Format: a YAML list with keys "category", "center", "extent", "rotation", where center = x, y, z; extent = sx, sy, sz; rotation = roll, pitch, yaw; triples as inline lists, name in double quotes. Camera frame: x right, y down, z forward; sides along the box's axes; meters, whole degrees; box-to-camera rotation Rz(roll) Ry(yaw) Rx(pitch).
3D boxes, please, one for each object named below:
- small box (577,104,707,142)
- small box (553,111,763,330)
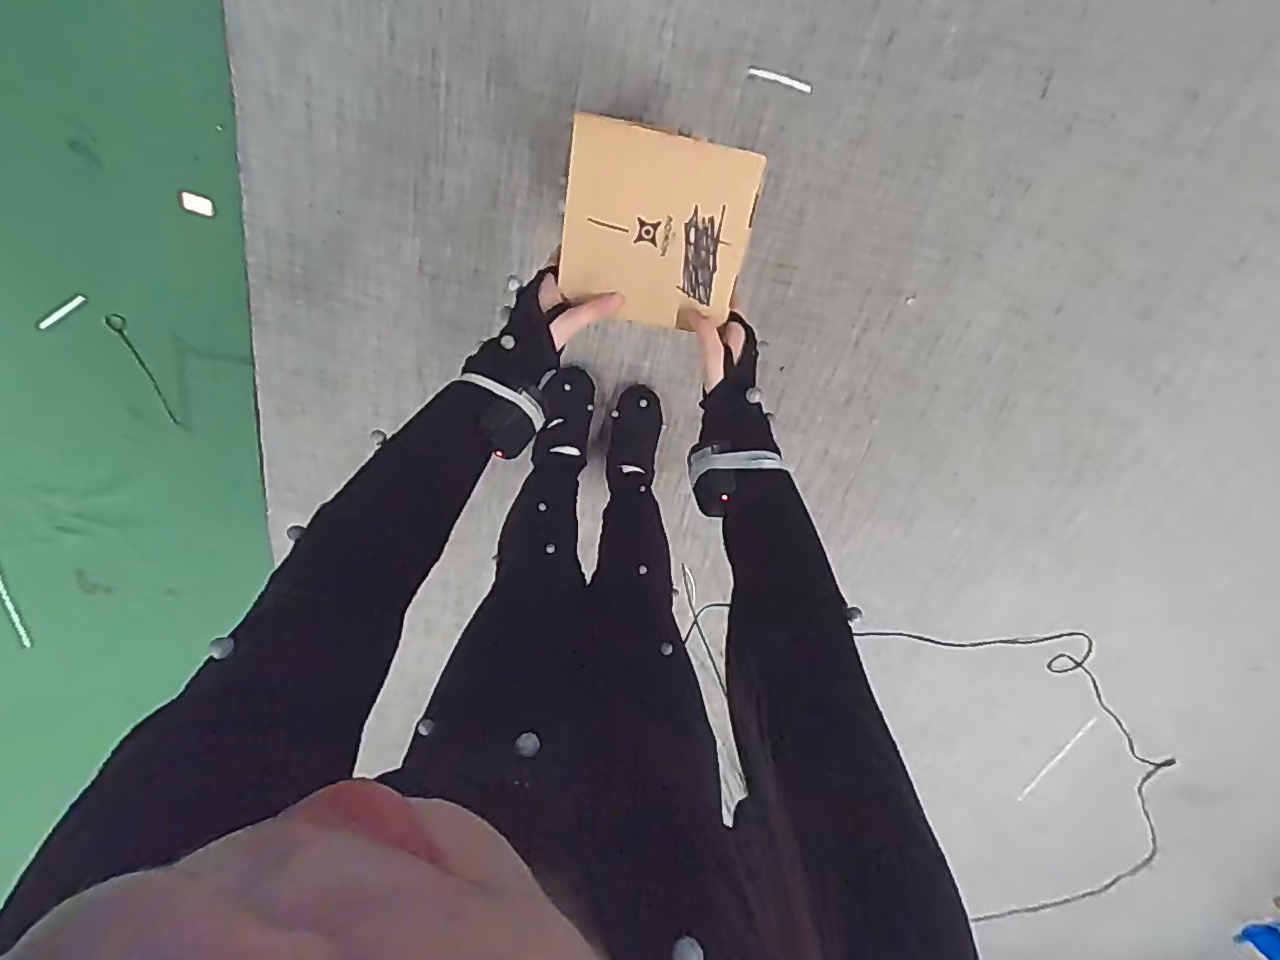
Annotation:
- category: "small box"
  center: [-0.014, -0.407, 0.766]
  extent: [0.168, 0.176, 0.179]
  rotation: [8, 120, -6]
- category: "small box"
  center: [0.011, -0.276, 0.584]
  extent: [0.179, 0.176, 0.168]
  rotation: [9, 118, -6]
